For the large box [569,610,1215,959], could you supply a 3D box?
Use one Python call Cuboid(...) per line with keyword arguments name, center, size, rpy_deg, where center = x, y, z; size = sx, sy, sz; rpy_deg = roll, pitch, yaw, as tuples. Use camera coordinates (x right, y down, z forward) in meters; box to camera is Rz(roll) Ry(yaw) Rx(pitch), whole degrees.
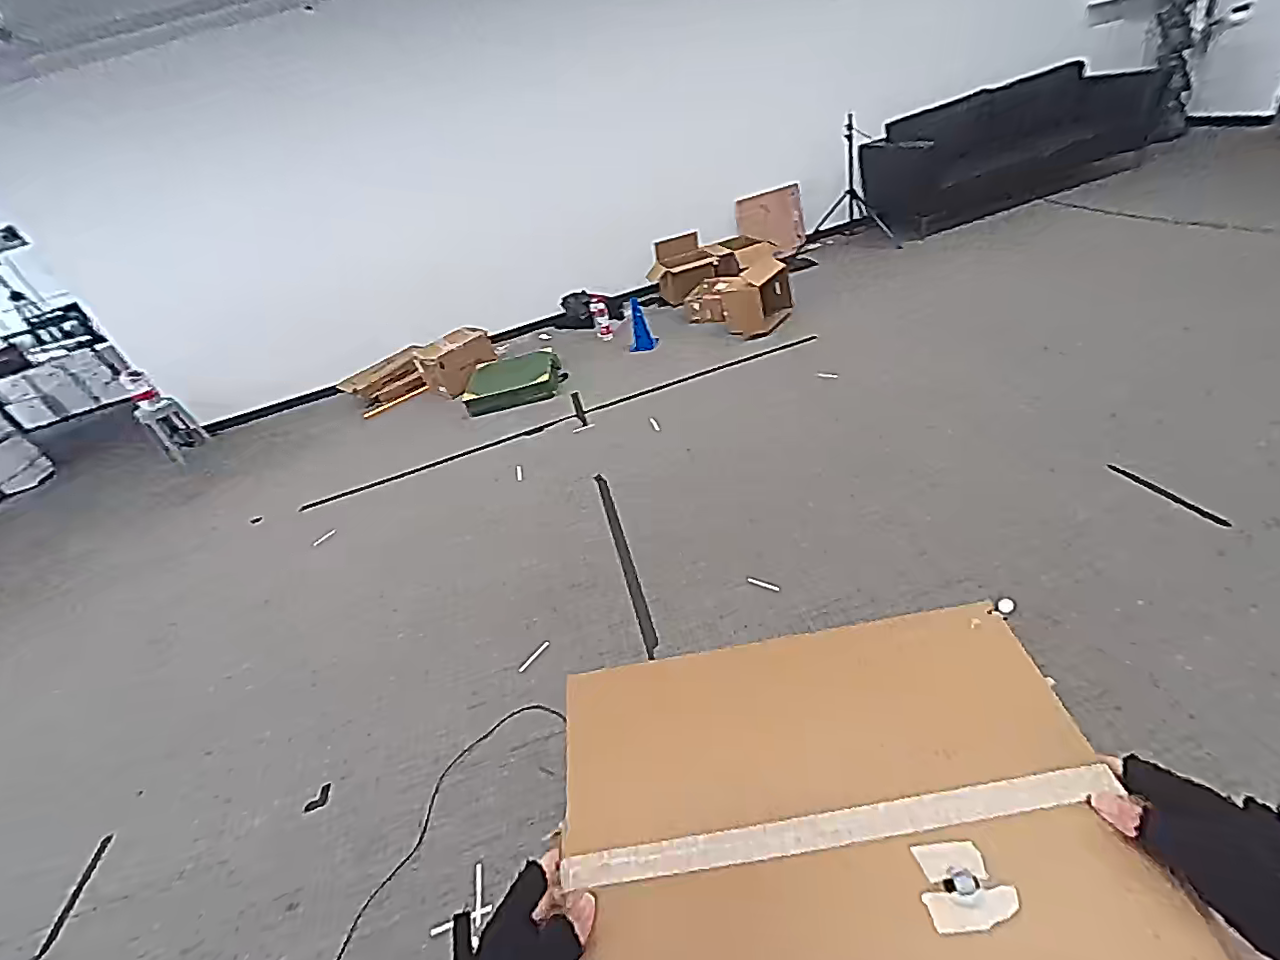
Cuboid(name="large box", center=(0.166, 0.372, 0.507), size=(0.408, 0.320, 0.320), rpy_deg=(-11, 43, 1))
